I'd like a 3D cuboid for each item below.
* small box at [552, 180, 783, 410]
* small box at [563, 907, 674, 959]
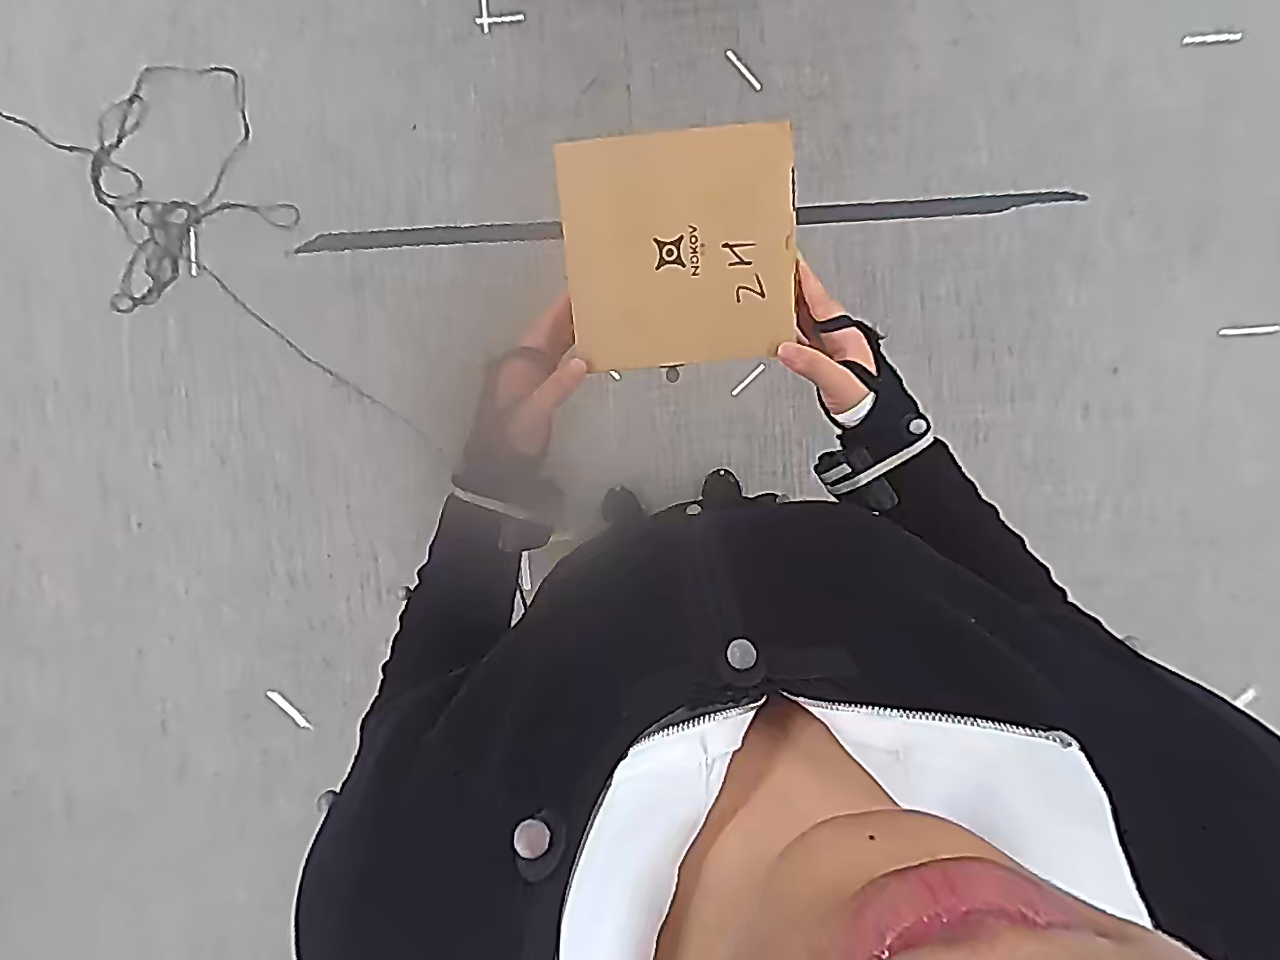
[{"bbox_3d":[0.026,-0.159,0.502,0.179,0.176,0.168,-4,104,1],"label":"small box"},{"bbox_3d":[-0.036,0.787,0.796,0.168,0.176,0.179,3,89,3],"label":"small box"}]
